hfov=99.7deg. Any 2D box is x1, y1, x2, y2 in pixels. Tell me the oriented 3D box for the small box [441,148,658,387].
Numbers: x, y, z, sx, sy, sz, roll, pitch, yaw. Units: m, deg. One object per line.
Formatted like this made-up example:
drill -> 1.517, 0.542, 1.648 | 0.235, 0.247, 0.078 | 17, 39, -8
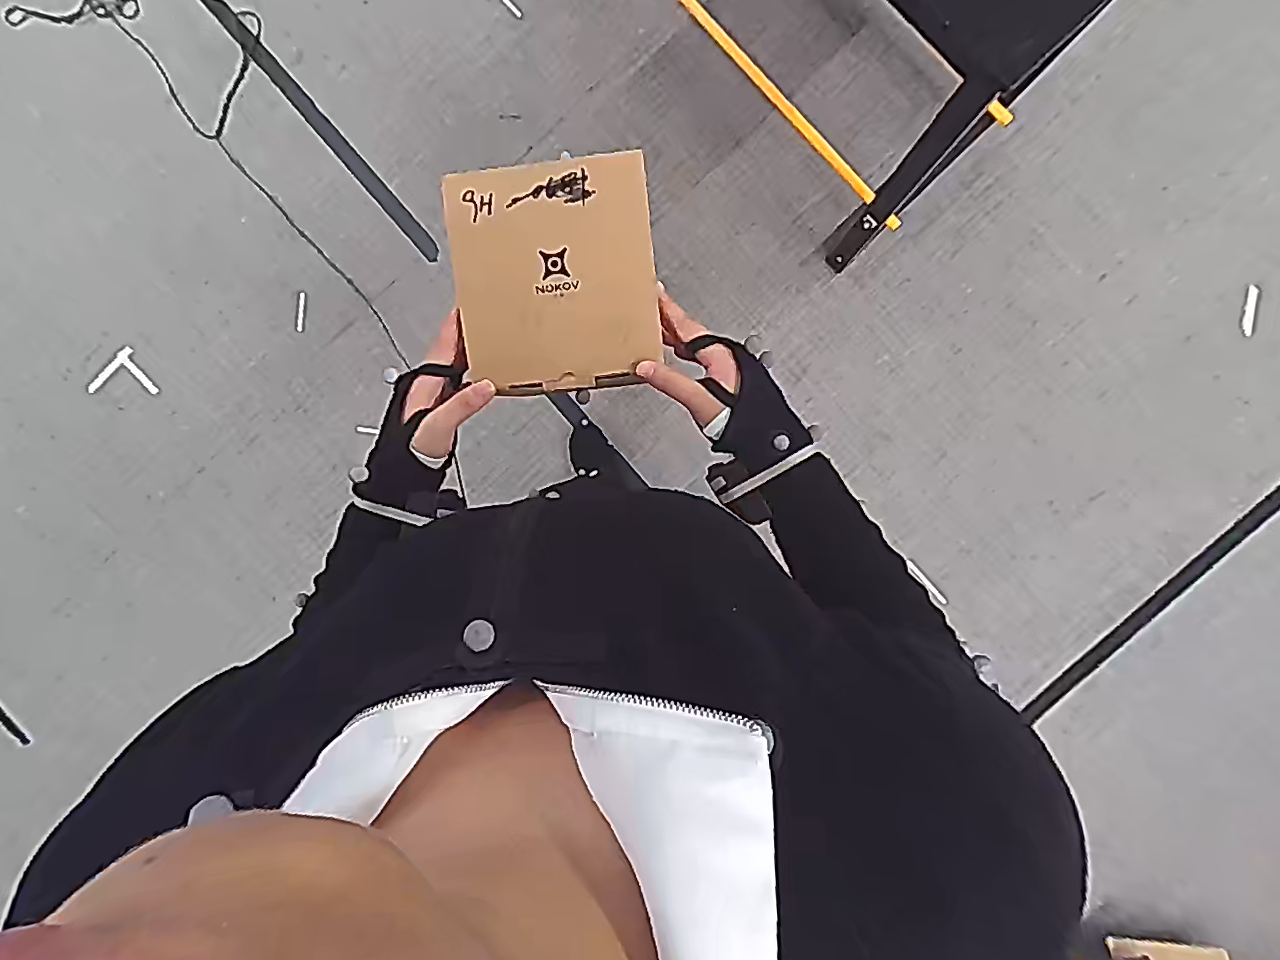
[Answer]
small box -> -0.070, -0.187, 0.528 | 0.168, 0.176, 0.179 | -6, 99, 2
